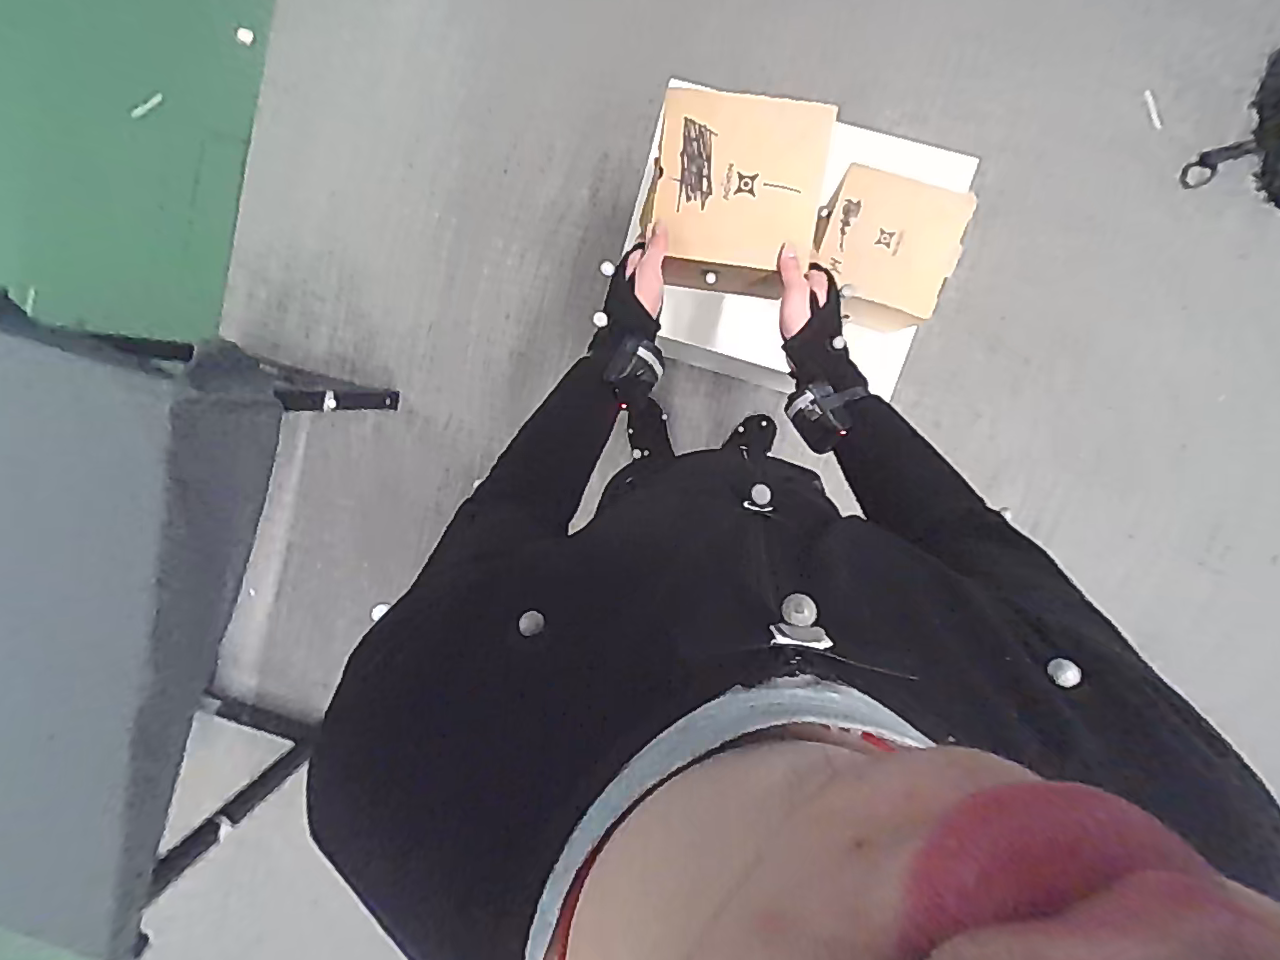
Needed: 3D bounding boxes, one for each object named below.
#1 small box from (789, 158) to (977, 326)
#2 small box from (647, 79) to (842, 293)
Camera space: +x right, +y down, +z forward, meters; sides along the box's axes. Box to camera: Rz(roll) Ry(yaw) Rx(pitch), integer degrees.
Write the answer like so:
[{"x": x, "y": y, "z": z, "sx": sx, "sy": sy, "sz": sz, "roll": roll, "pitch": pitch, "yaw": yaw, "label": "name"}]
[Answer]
[{"x": 0.344, "y": -0.337, "z": 0.804, "sx": 0.179, "sy": 0.176, "sz": 0.168, "roll": 19, "pitch": 100, "yaw": 2, "label": "small box"}, {"x": 0.107, "y": -0.322, "z": 0.628, "sx": 0.179, "sy": 0.176, "sz": 0.168, "roll": 8, "pitch": 101, "yaw": 1, "label": "small box"}]
